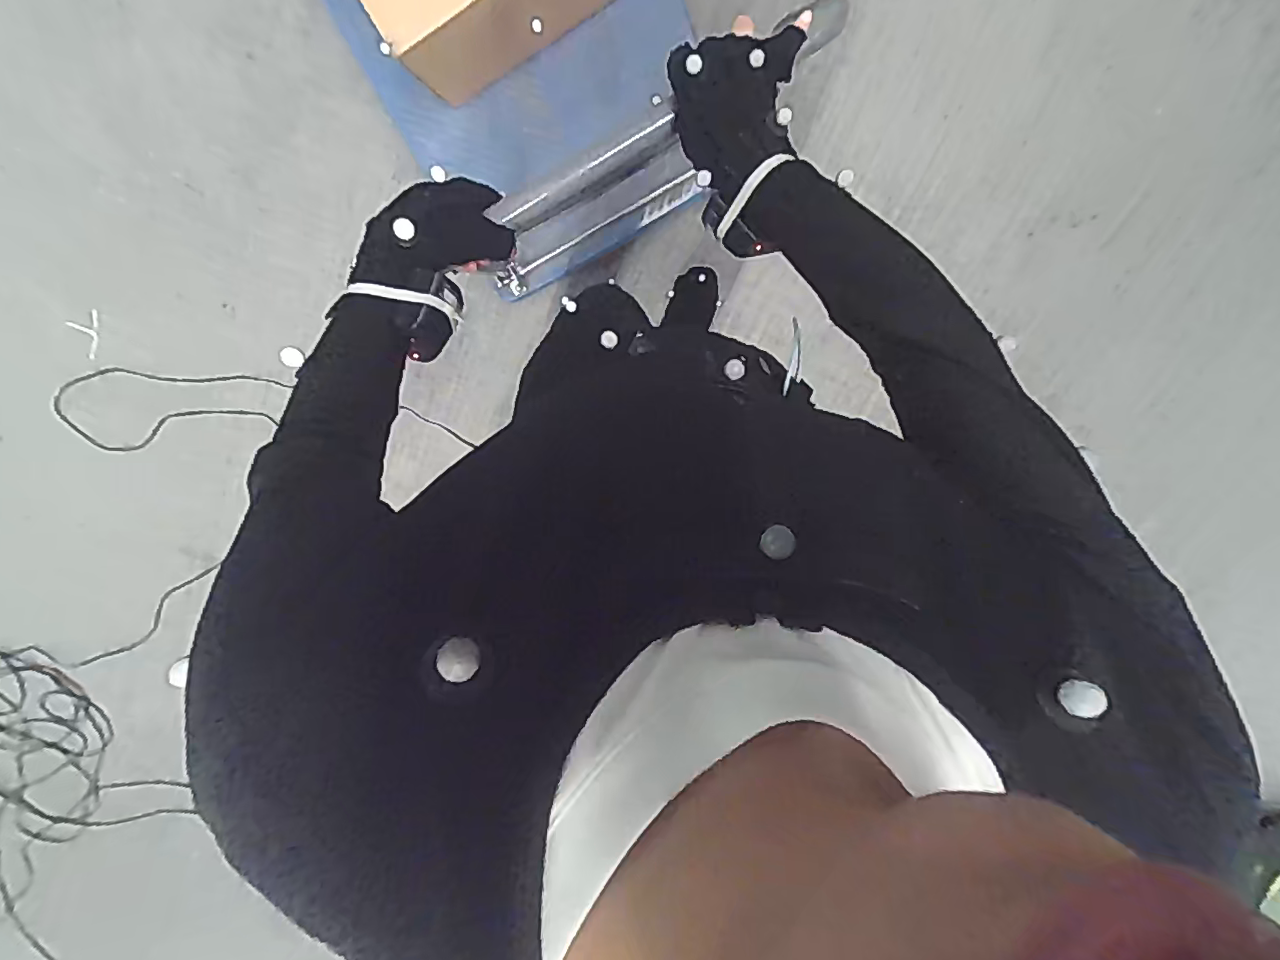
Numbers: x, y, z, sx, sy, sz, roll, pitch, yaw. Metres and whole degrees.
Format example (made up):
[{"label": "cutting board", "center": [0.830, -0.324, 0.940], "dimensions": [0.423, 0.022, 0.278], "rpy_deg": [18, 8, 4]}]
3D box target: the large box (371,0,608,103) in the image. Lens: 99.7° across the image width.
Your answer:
[{"label": "large box", "center": [-0.237, -0.867, 0.811], "dimensions": [0.408, 0.320, 0.320], "rpy_deg": [-28, 112, 9]}]
